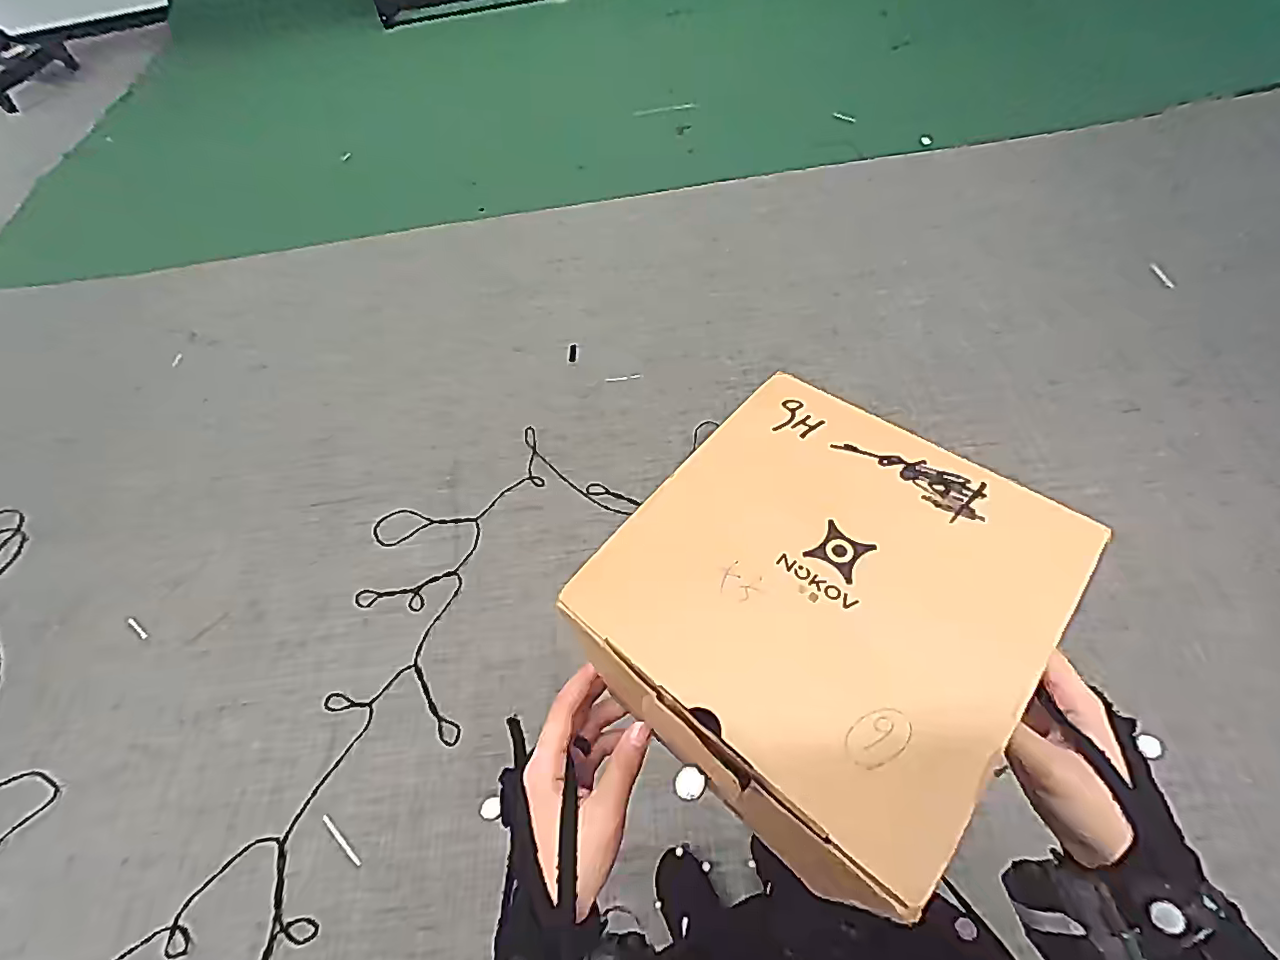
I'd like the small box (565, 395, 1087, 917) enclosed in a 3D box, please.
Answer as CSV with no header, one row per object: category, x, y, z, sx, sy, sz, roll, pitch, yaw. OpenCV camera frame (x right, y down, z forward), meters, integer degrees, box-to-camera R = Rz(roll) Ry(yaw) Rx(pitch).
small box,0.090,0.093,0.306,0.168,0.176,0.179,34,66,26
